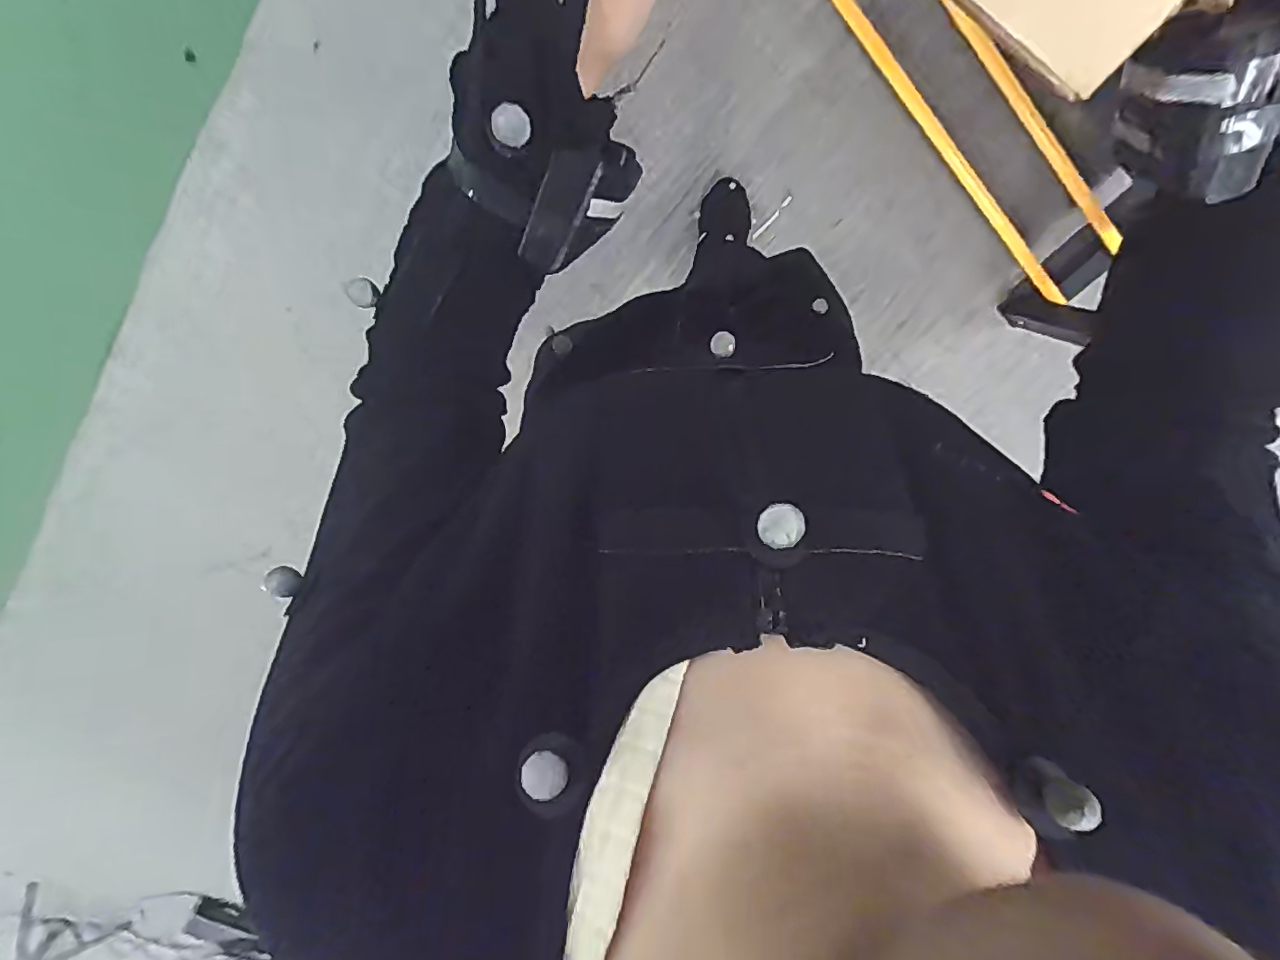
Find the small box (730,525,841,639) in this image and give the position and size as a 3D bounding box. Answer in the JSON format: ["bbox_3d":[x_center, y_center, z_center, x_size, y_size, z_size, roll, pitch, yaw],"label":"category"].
[{"bbox_3d":[0.339,0.237,1.292,0.179,0.176,0.168,34,111,-14],"label":"small box"}]

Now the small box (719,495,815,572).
[{"bbox_3d":[0.329,0.170,1.441,0.168,0.176,0.179,34,111,-15],"label":"small box"}]
